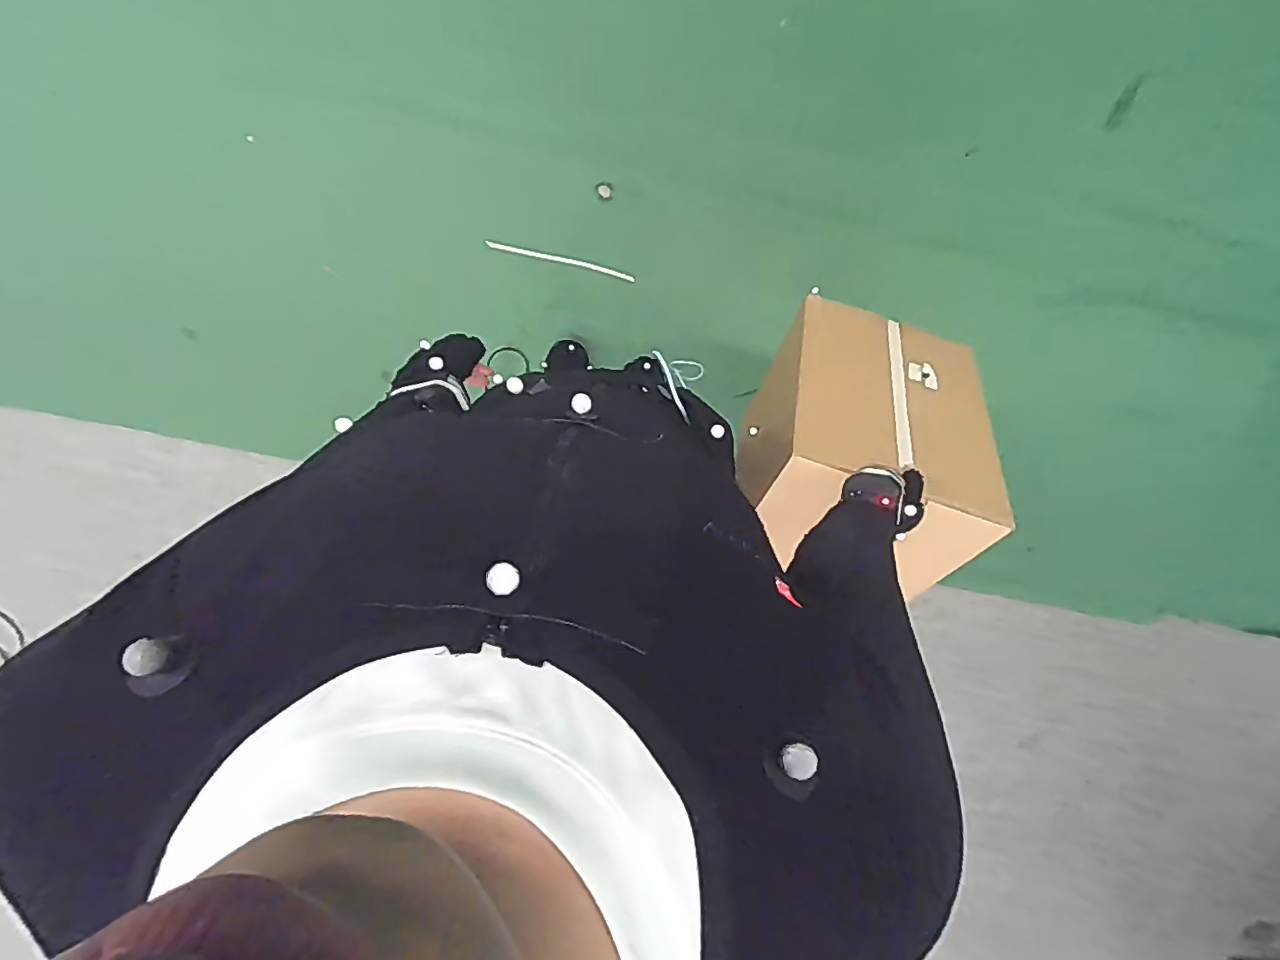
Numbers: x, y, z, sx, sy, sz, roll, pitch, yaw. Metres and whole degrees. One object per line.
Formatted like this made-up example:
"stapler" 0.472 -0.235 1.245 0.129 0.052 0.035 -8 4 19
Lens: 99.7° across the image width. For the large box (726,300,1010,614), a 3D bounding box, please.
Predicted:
"large box" 0.364 -0.039 0.955 0.320 0.408 0.320 19 140 -1
